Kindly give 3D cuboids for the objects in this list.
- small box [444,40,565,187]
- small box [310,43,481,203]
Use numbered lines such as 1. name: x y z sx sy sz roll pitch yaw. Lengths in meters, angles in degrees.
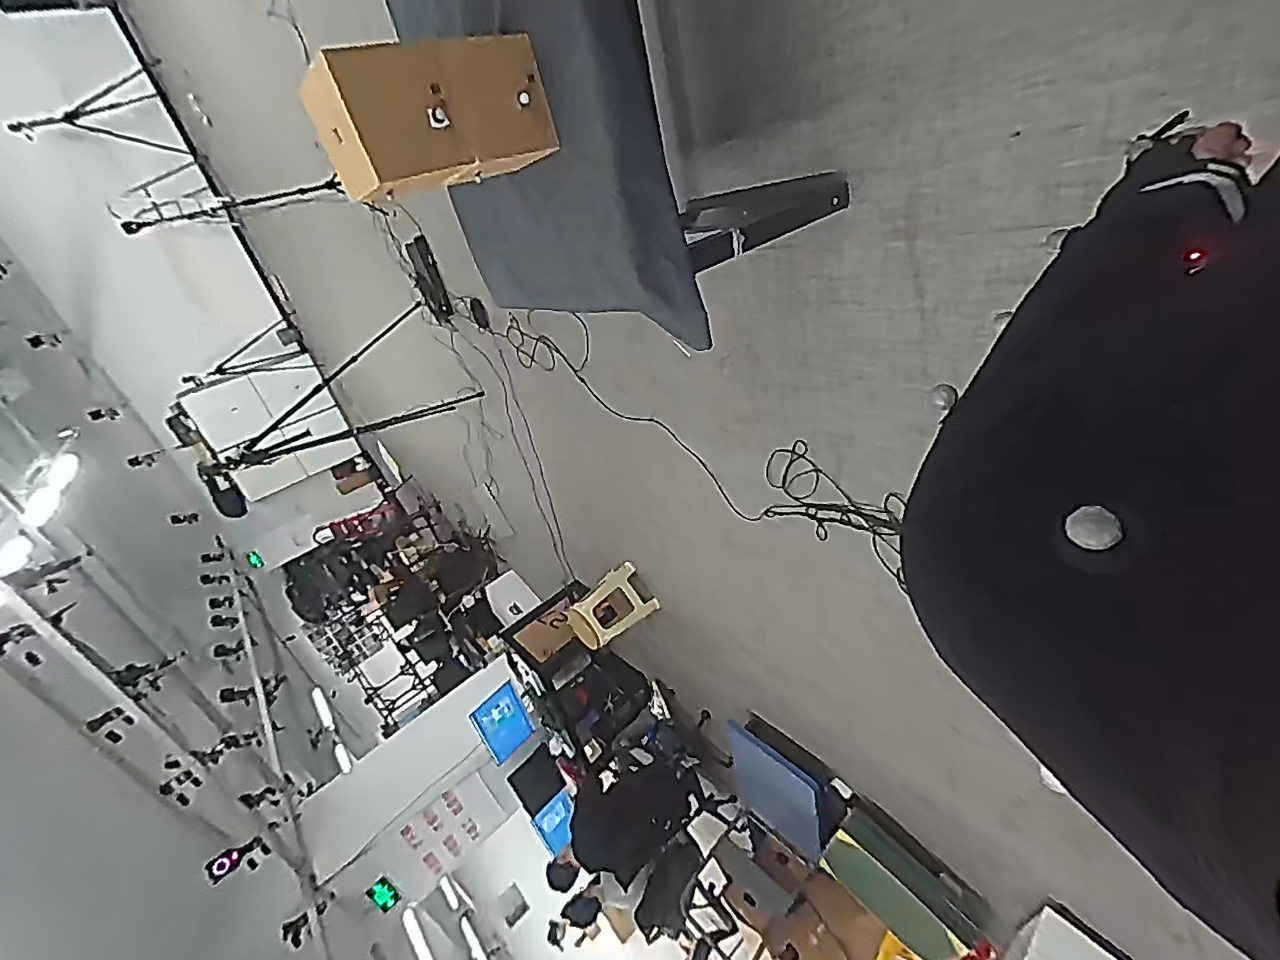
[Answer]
1. small box: -0.258 -0.625 0.932 0.179 0.176 0.168 17 131 48
2. small box: -0.379 -0.554 0.850 0.179 0.176 0.168 17 132 48
